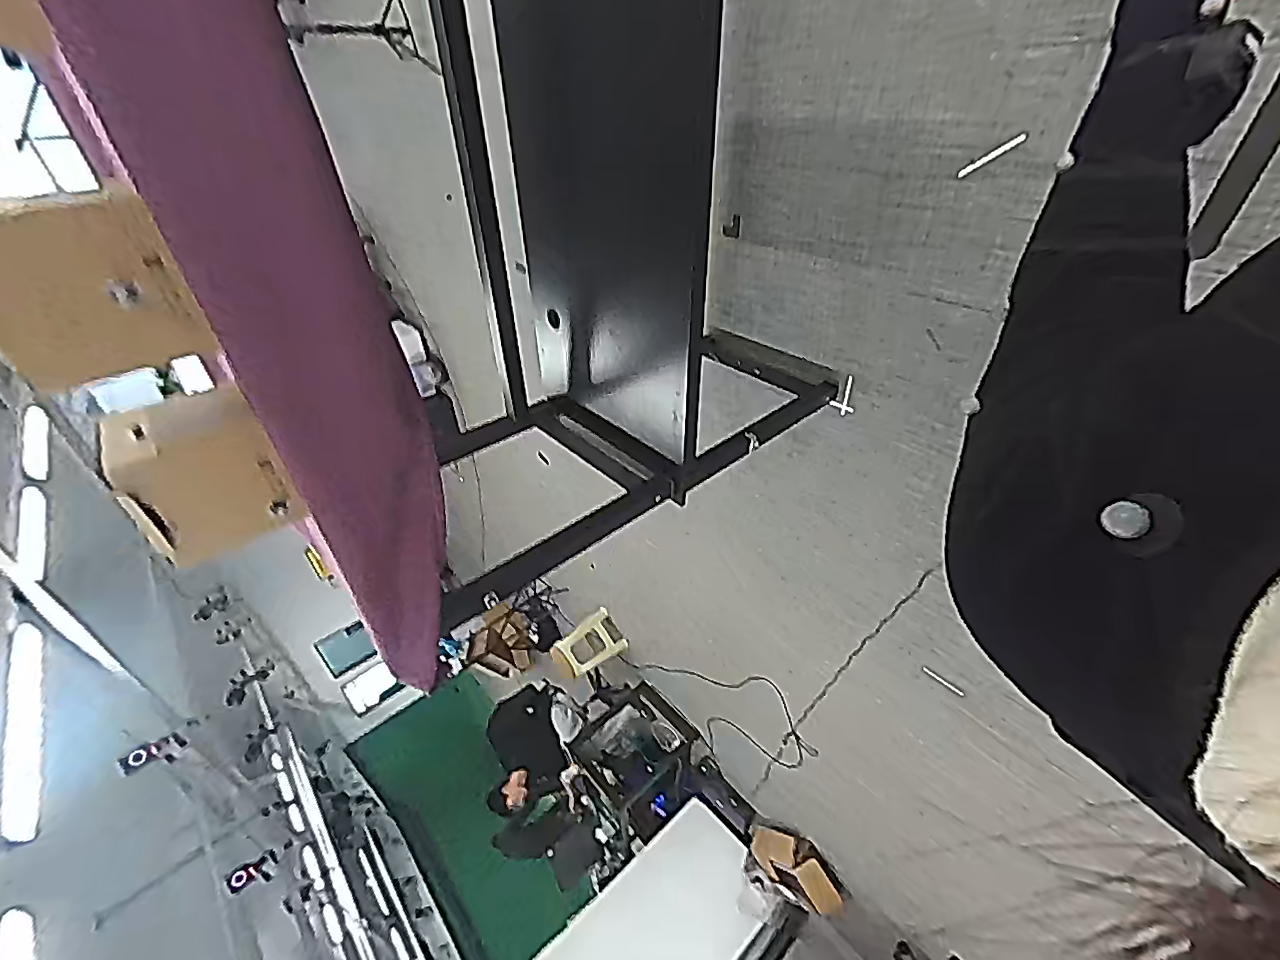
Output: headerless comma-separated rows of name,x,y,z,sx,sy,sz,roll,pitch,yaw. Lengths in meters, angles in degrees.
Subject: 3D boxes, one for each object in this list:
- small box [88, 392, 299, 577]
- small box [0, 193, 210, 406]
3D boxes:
small box,-0.611,-0.005,0.756,0.179,0.176,0.168,33,140,39
small box,-0.614,-0.208,0.593,0.179,0.176,0.168,33,140,38
